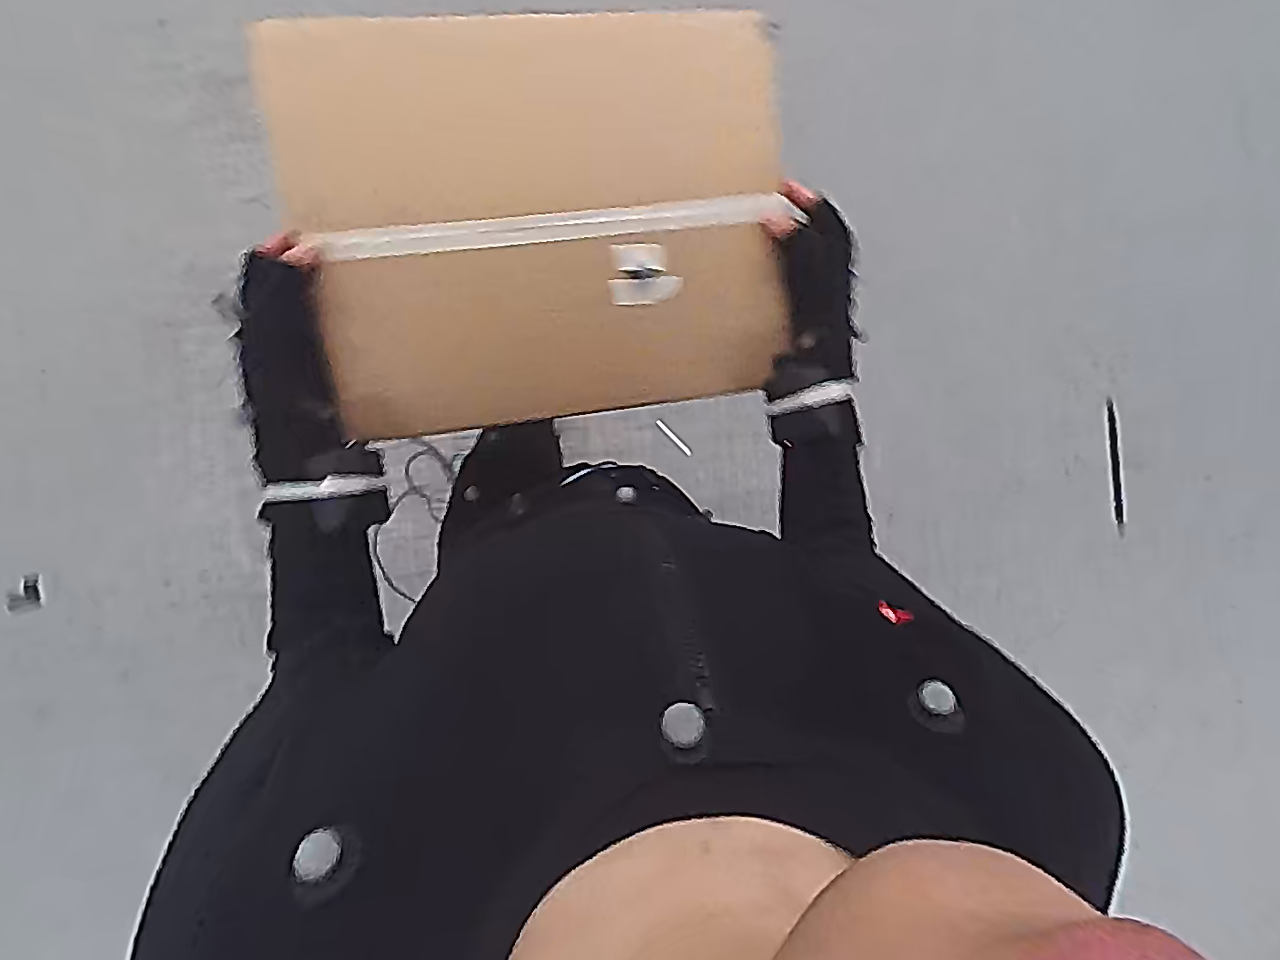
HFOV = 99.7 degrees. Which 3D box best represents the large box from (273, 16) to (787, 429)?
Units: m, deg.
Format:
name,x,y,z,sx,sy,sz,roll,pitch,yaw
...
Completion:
name,x,y,z,sx,sy,sz,roll,pitch,yaw
large box,-0.097,-0.248,0.610,0.408,0.320,0.320,-9,102,-10
